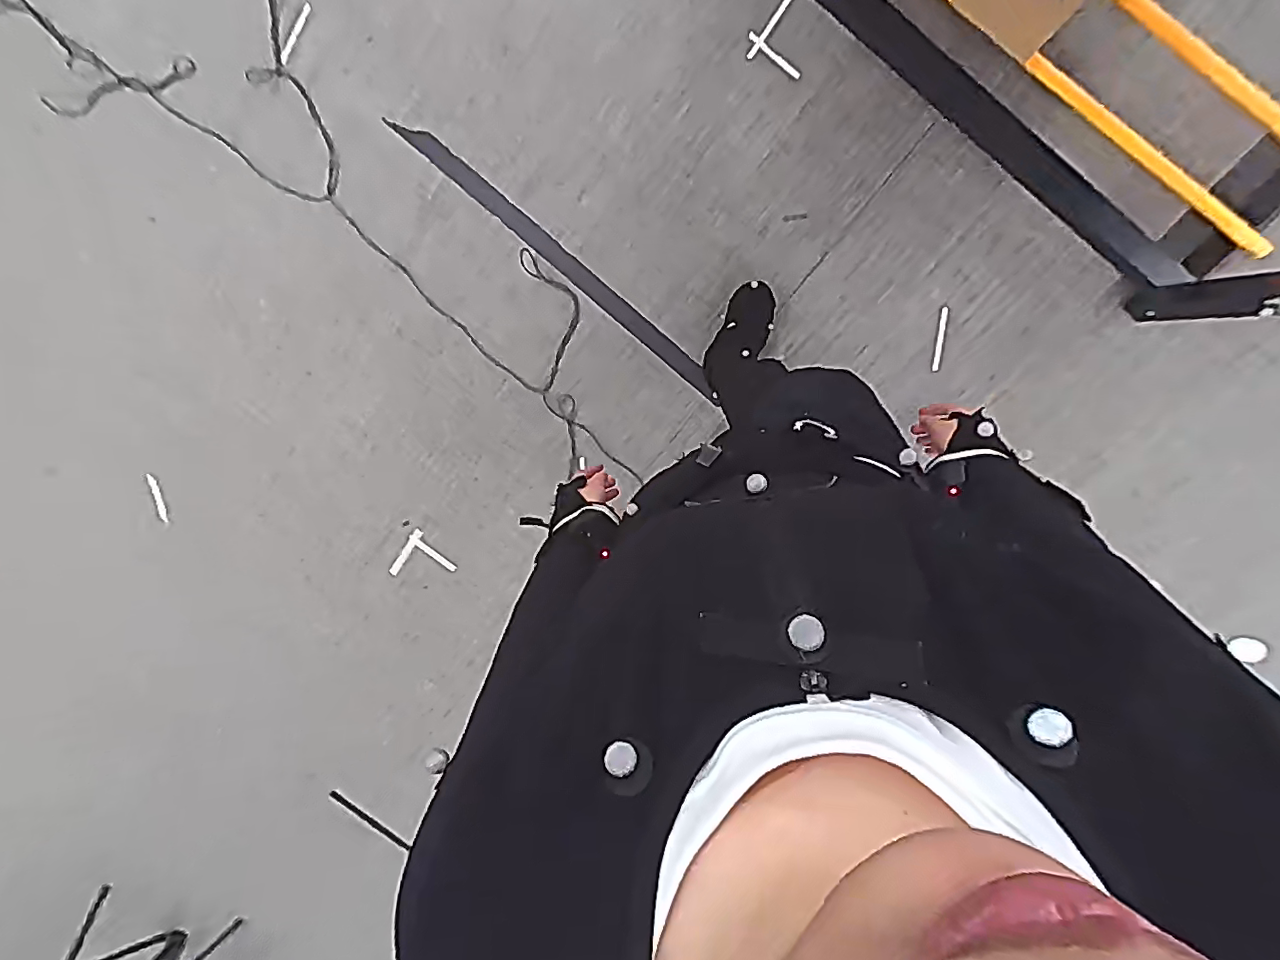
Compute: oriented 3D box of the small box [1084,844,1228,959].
[{"bbox_3d":[1.343,1.114,1.421,0.179,0.176,0.168,40,107,-3],"label":"small box"}]
